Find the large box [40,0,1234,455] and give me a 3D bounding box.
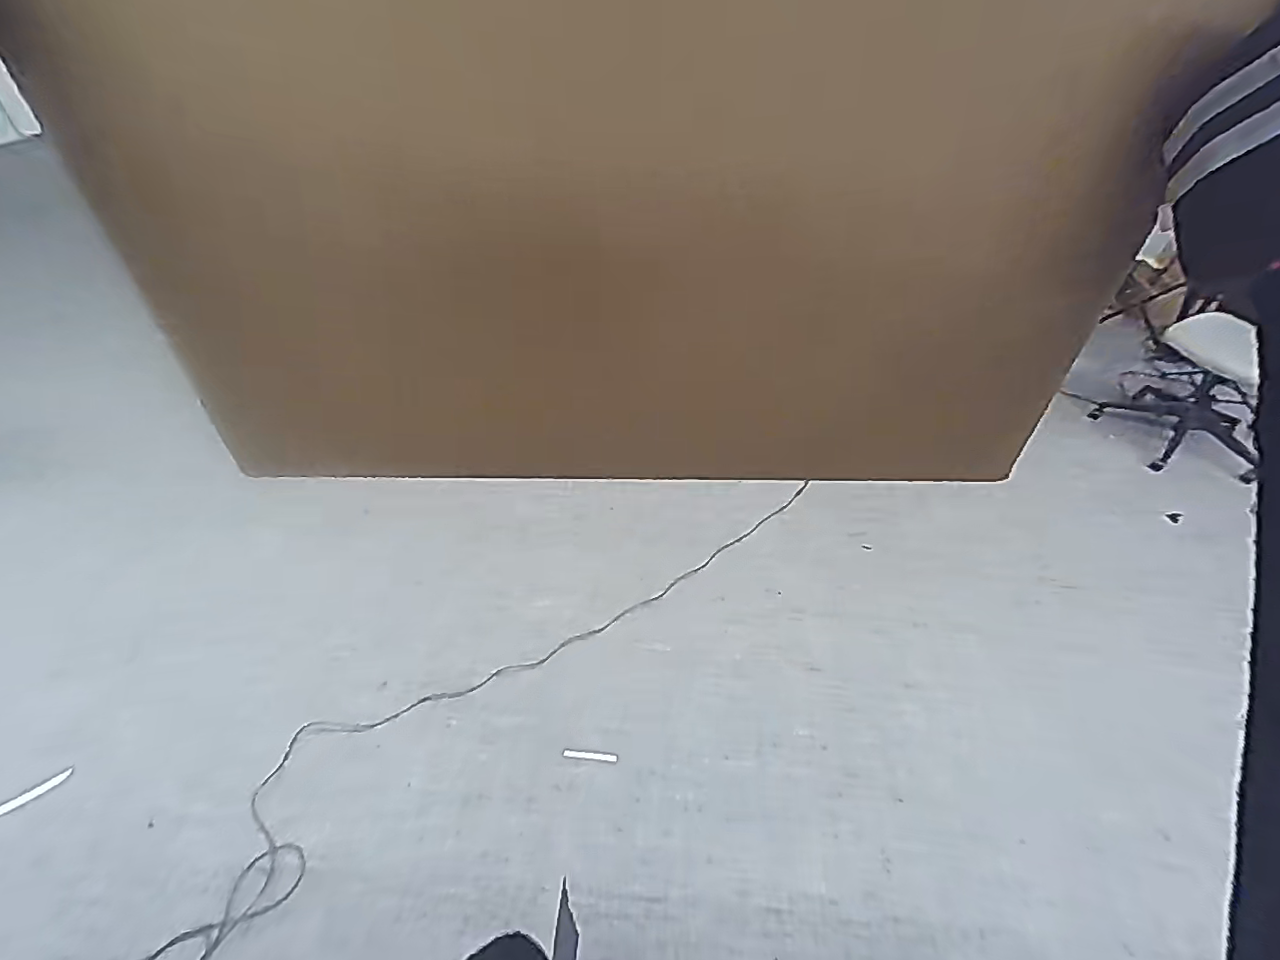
[{"bbox_3d":[-0.002,-0.223,0.313,0.408,0.320,0.320,1,40,-2],"label":"large box"}]
